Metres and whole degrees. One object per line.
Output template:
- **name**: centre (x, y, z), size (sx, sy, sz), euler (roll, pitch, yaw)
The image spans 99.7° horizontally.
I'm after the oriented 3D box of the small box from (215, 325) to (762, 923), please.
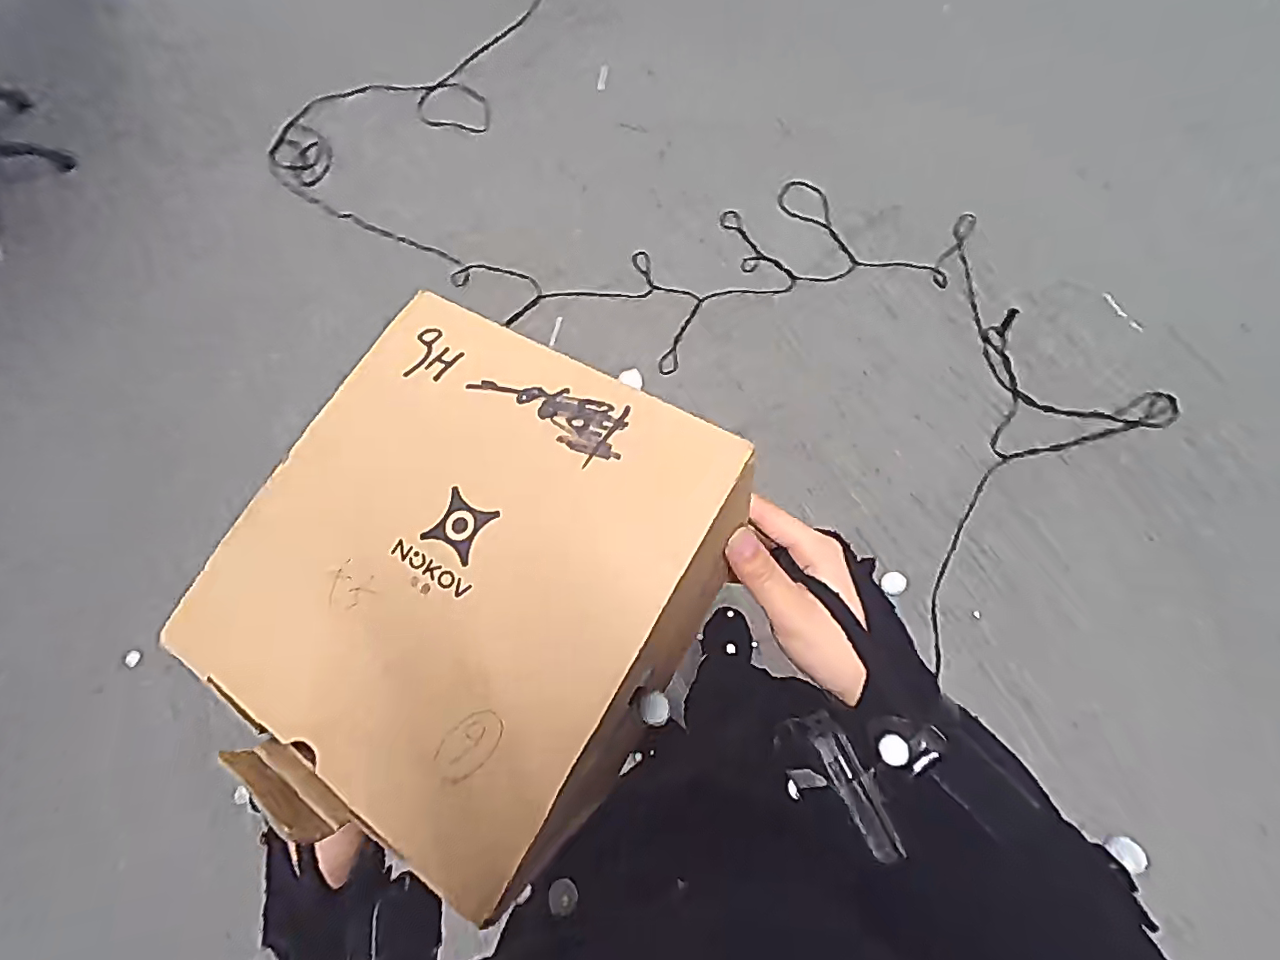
- **small box**: centre (-0.049, 0.060, 0.286), size (0.168, 0.176, 0.179), euler (28, 78, 17)
